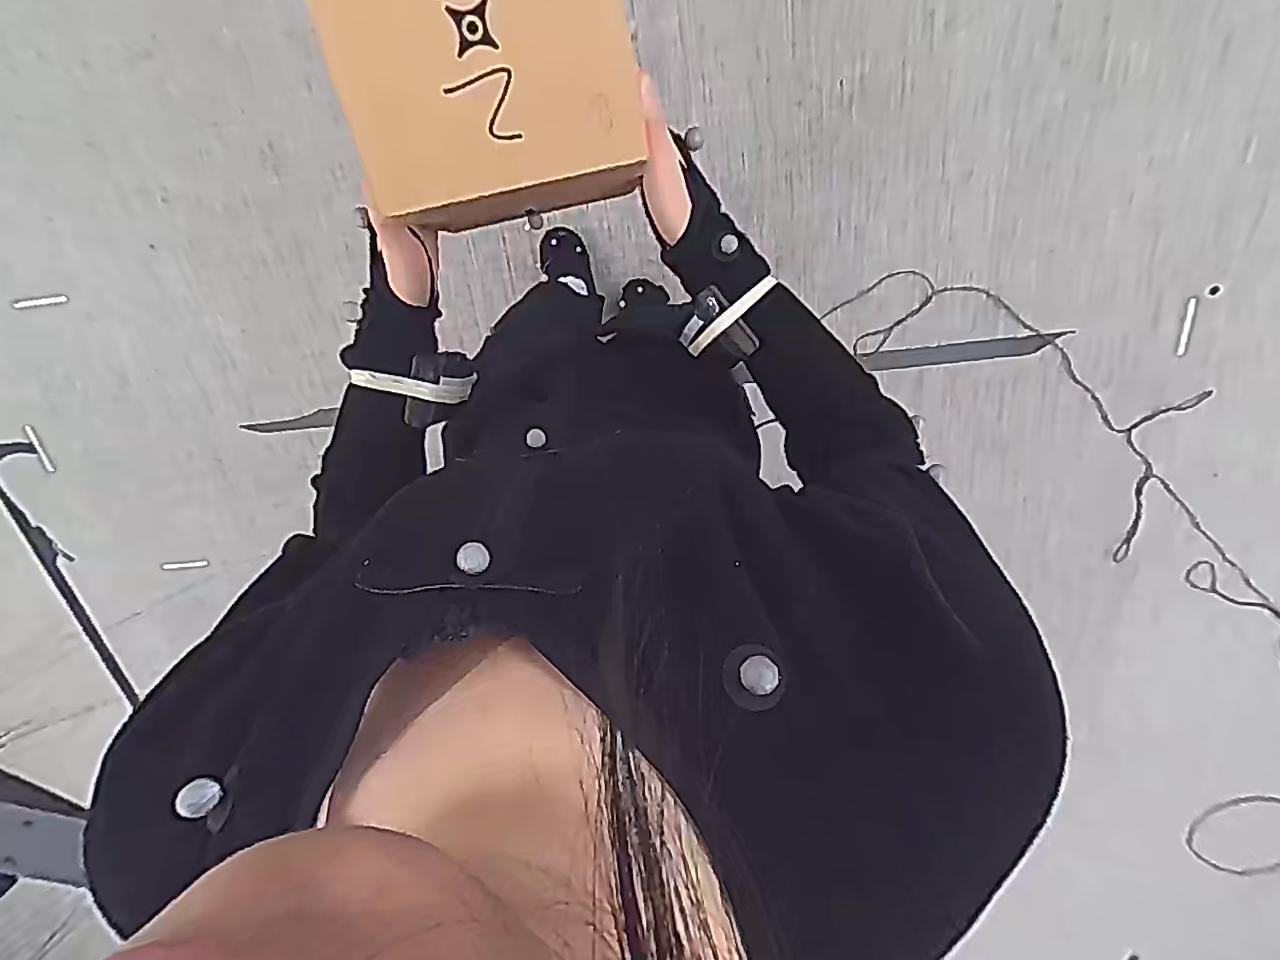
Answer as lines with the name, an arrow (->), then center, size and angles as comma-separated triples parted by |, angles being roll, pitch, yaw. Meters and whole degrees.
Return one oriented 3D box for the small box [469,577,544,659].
small box -> -0.398, 0.410, 1.630 | 0.179, 0.176, 0.168 | 9, 111, -3
